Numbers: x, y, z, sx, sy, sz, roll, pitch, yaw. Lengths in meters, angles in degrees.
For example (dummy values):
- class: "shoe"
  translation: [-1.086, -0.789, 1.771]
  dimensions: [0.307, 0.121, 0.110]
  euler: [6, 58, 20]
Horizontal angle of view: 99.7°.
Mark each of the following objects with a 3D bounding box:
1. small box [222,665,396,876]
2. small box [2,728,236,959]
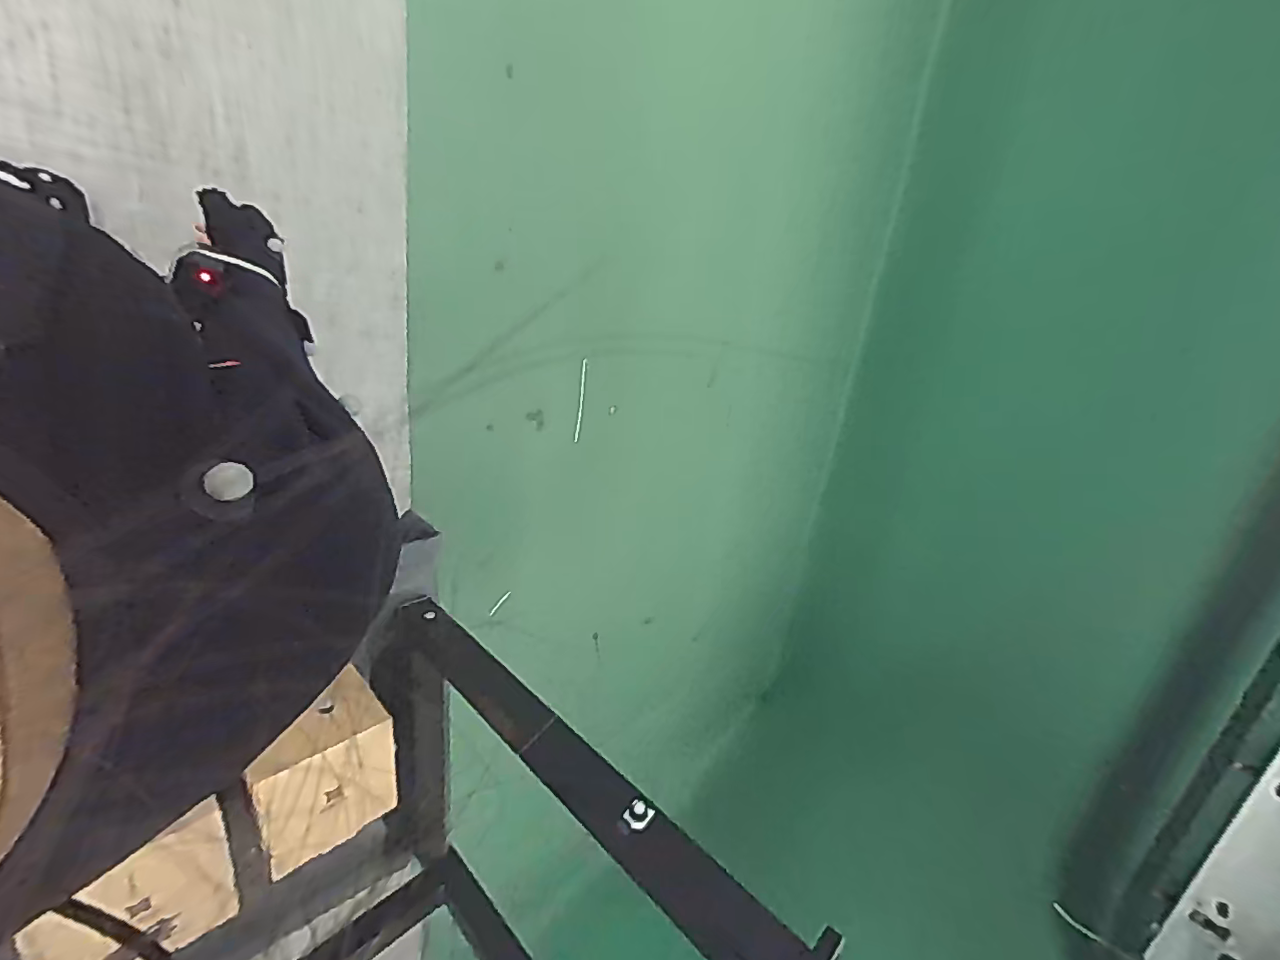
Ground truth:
- class: "small box"
  translation: [-0.469, 0.392, 0.772]
  dimensions: [0.168, 0.176, 0.179]
  euler: [-15, 120, -45]
- class: "small box"
  translation: [-0.604, 0.439, 0.636]
  dimensions: [0.168, 0.176, 0.179]
  euler: [-15, 119, -46]
